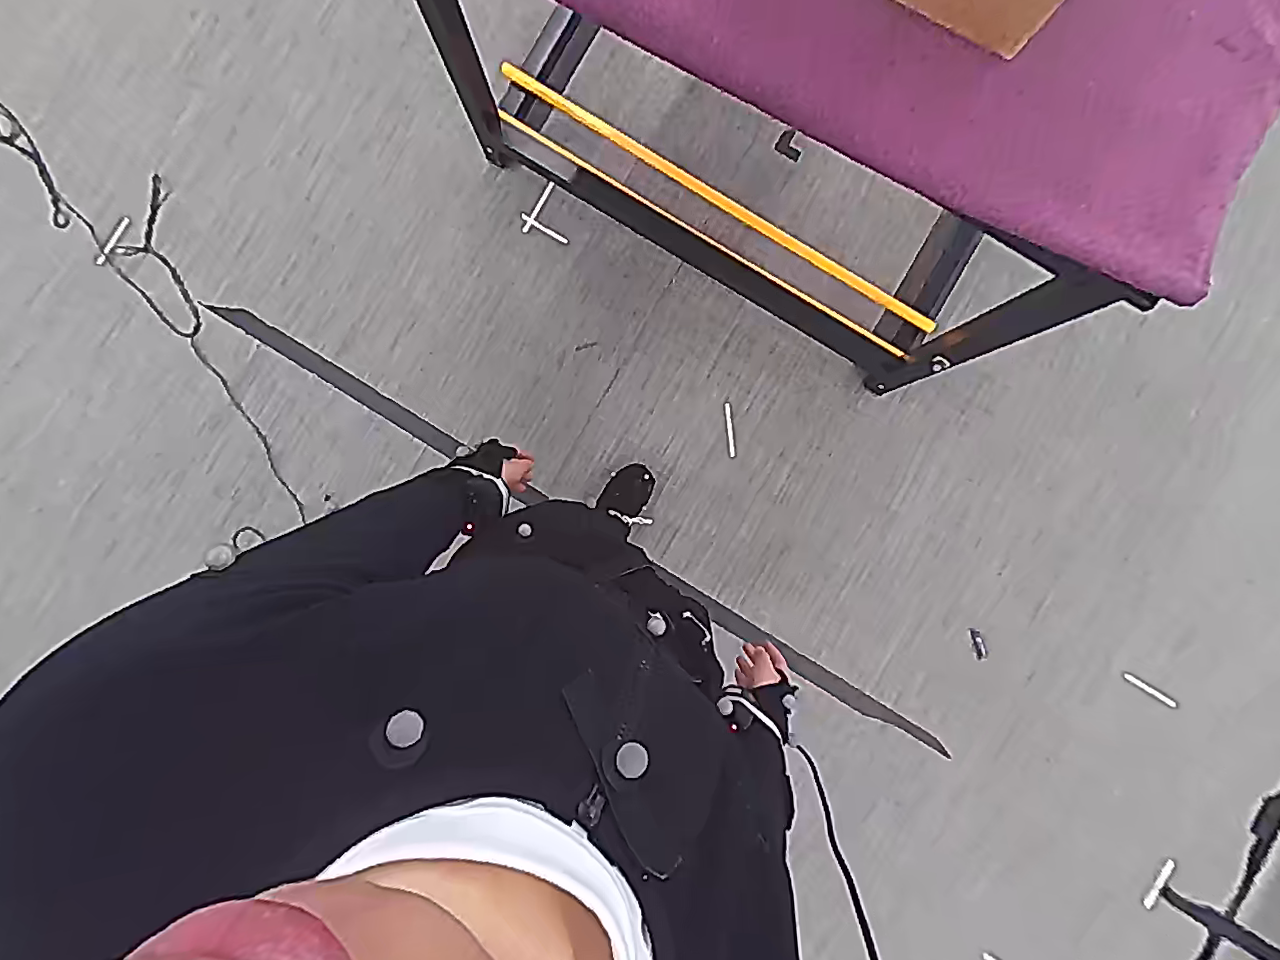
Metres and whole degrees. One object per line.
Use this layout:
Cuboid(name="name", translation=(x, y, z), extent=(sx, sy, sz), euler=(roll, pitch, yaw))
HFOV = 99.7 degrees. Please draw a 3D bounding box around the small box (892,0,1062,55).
Cuboid(name="small box", translation=(0.419, -0.625, 0.592), extent=(0.179, 0.176, 0.168), euler=(28, 88, 0))
